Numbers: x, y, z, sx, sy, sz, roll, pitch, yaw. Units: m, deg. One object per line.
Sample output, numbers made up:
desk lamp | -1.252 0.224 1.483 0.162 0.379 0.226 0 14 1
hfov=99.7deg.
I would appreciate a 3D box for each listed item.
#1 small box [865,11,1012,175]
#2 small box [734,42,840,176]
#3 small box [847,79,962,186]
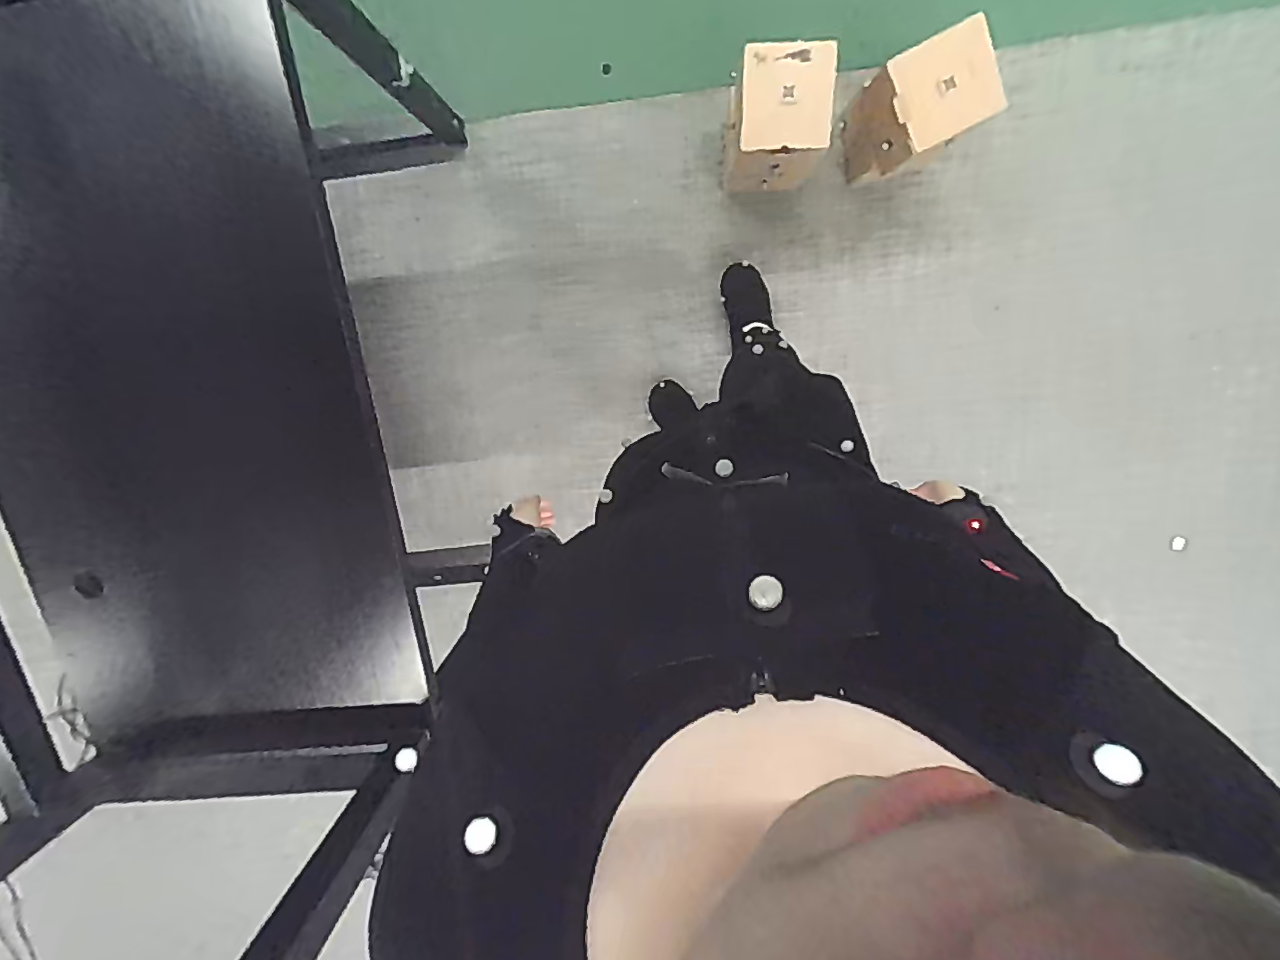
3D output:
small box | 0.552 -0.718 1.030 0.179 0.176 0.168 -25 104 8
small box | 0.274 -0.704 1.048 0.168 0.176 0.179 2 104 4
small box | 0.567 -0.769 1.184 0.179 0.176 0.168 -12 104 6
